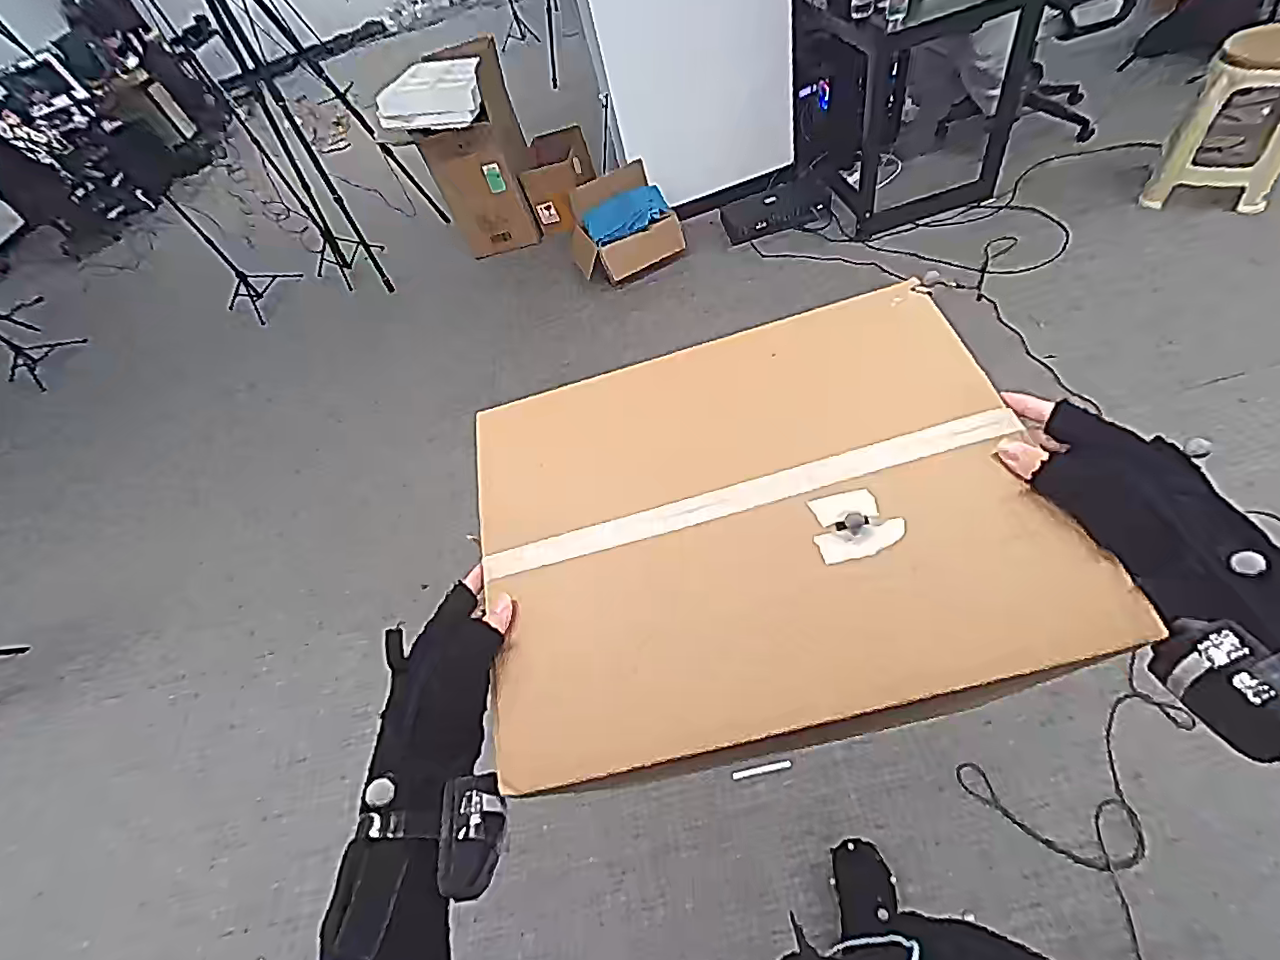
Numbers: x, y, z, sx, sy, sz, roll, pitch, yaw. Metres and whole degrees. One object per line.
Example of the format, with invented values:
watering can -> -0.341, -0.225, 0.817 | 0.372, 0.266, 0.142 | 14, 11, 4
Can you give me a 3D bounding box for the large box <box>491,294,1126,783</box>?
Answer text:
large box -> 0.108, 0.086, 0.545 | 0.408, 0.320, 0.320 | -16, 60, 4
